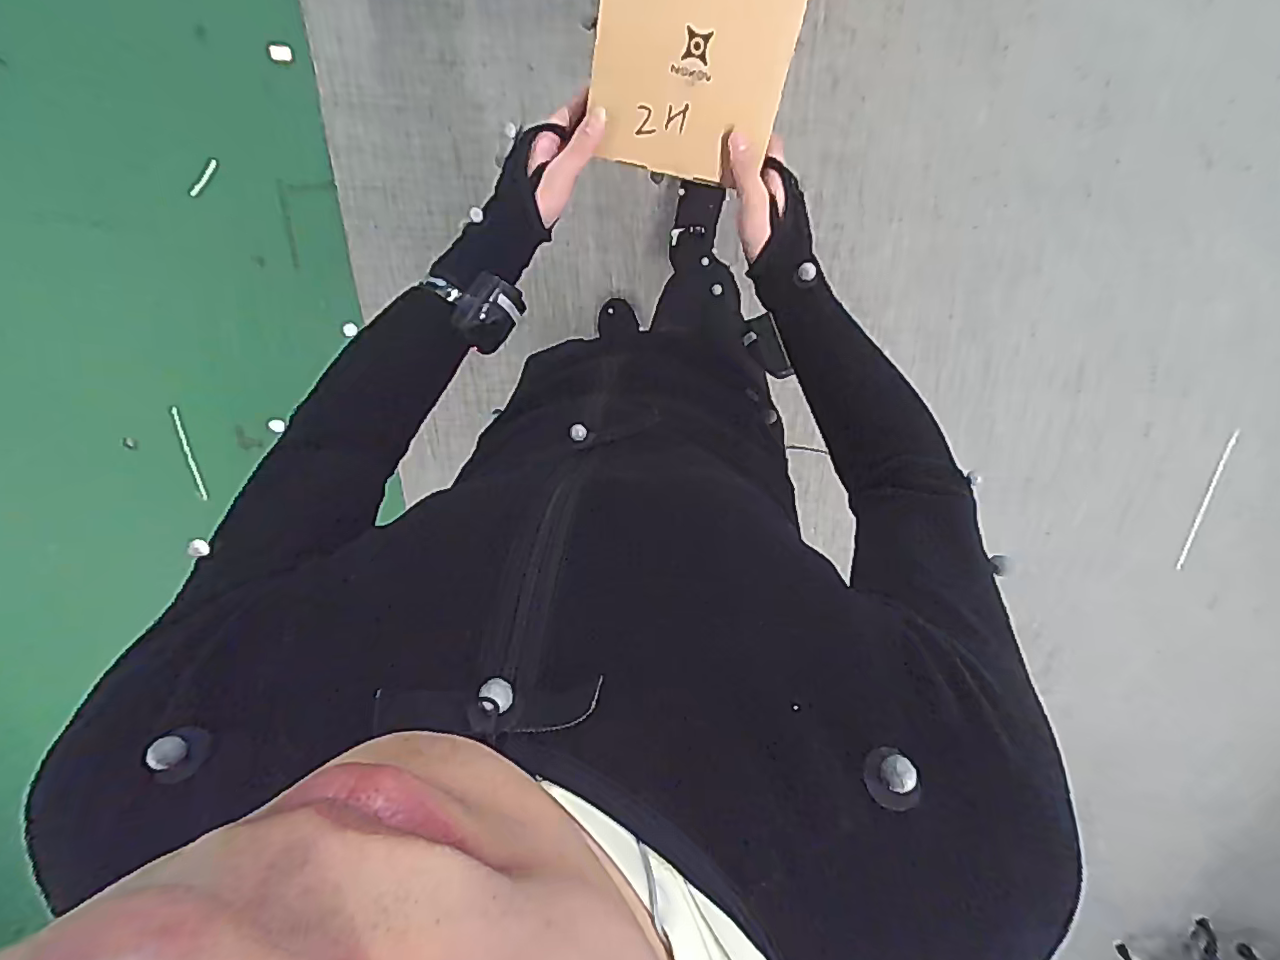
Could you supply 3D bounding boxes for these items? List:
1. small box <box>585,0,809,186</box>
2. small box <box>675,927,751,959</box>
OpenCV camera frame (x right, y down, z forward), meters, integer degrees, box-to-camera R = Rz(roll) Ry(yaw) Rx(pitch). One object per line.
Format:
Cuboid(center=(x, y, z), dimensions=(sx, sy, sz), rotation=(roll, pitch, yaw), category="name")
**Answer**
Cuboid(center=(0.042, -0.402, 0.515), dimensions=(0.168, 0.176, 0.179), rotation=(8, 123, -9), category="small box")
Cuboid(center=(0.185, 1.281, 1.375), dimensions=(0.179, 0.176, 0.168), rotation=(7, 114, -1), category="small box")
